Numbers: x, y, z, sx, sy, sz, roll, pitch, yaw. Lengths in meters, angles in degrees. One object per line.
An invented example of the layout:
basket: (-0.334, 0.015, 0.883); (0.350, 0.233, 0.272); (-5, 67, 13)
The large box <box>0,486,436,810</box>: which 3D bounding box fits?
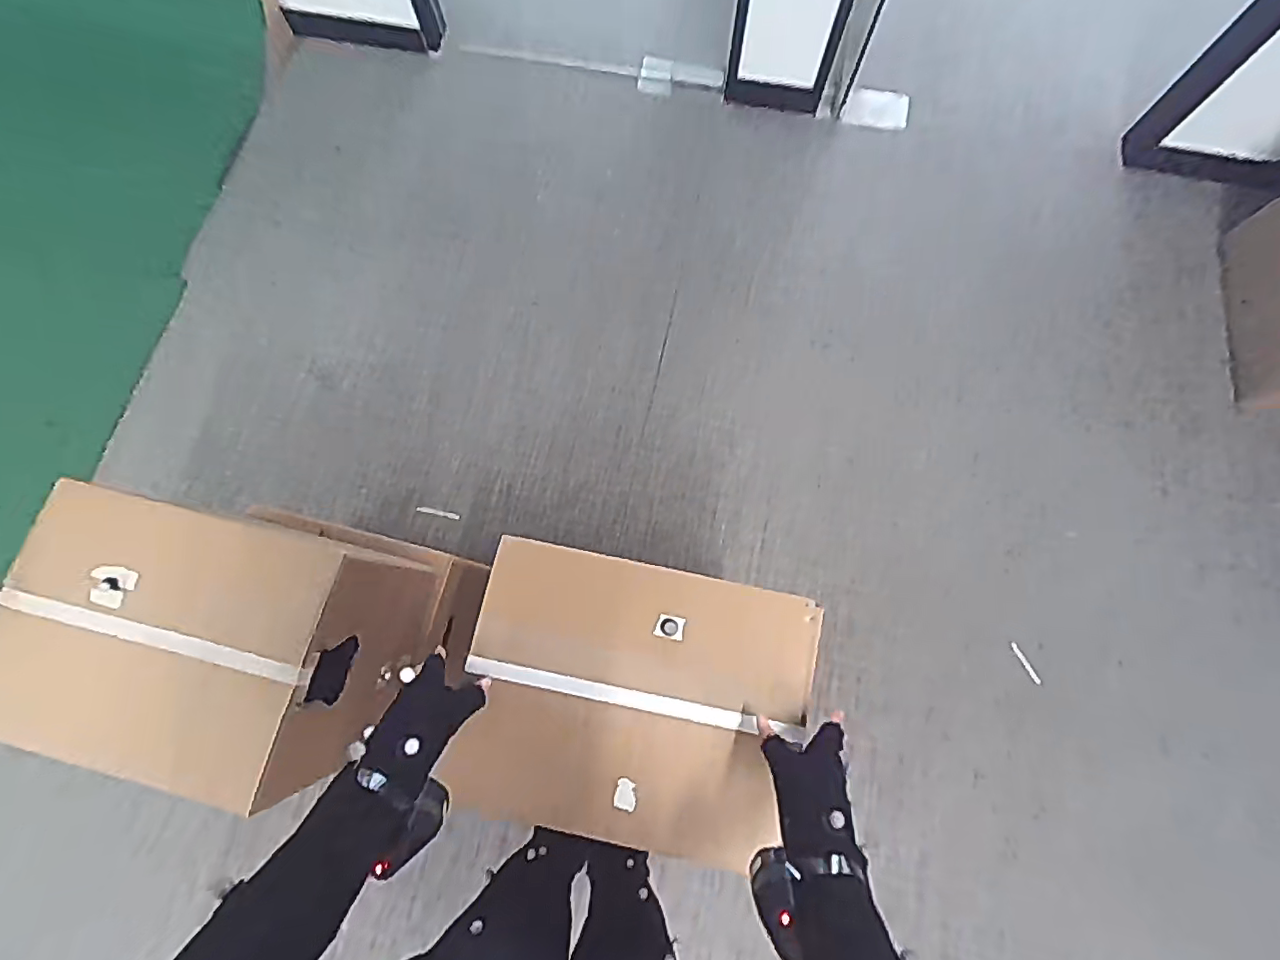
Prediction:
large box: (-0.590, 0.226, 0.808); (0.408, 0.320, 0.320); (13, 77, 5)
